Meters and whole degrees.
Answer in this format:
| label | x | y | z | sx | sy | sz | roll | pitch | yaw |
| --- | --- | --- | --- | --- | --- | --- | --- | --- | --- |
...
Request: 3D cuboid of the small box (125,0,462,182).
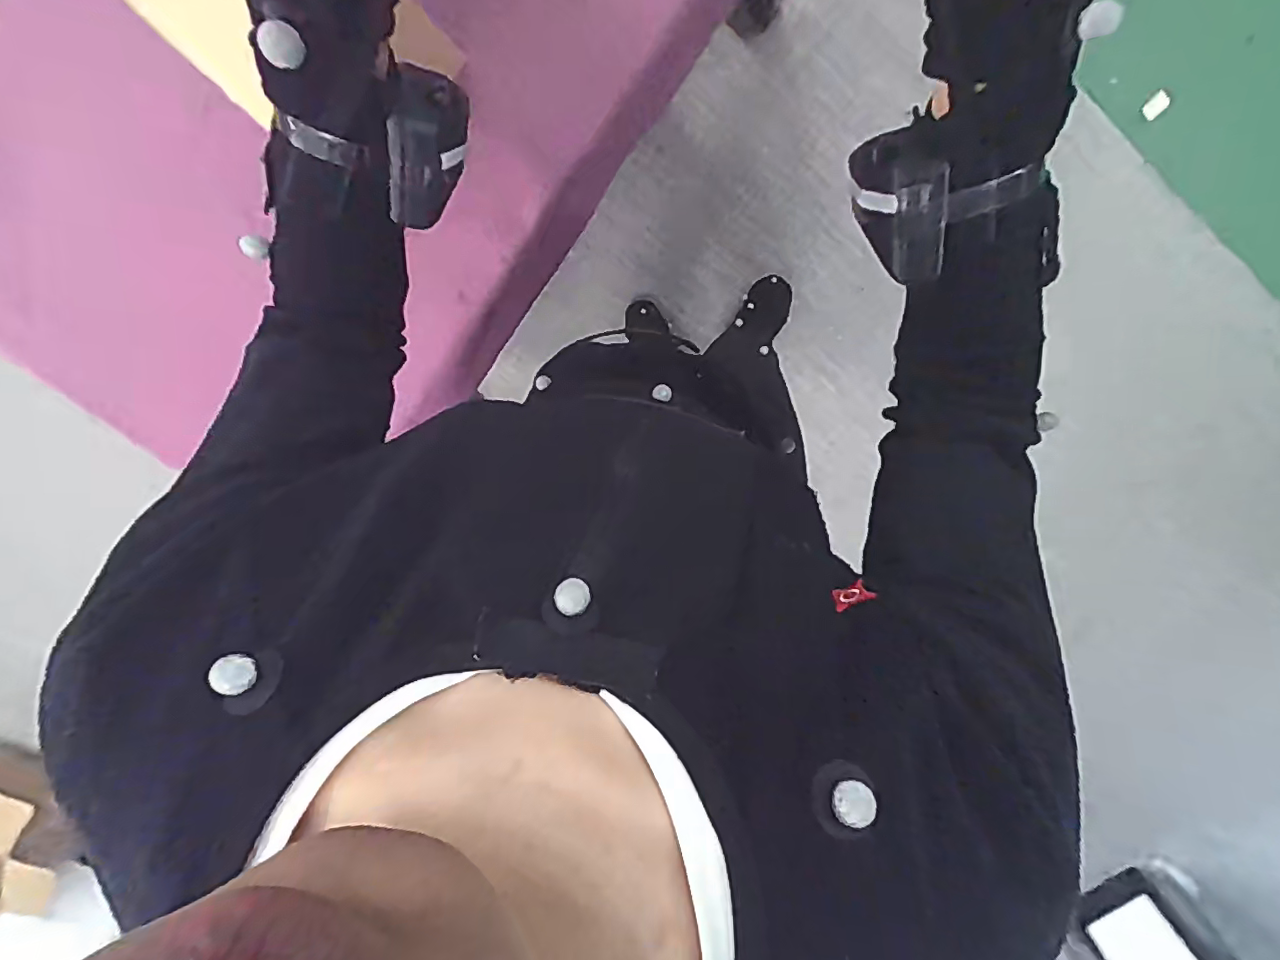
| label | x | y | z | sx | sy | sz | roll | pitch | yaw |
| --- | --- | --- | --- | --- | --- | --- | --- | --- | --- |
| small box | -0.310 | -0.422 | 0.521 | 0.179 | 0.176 | 0.168 | 42 | 108 | -11 |
